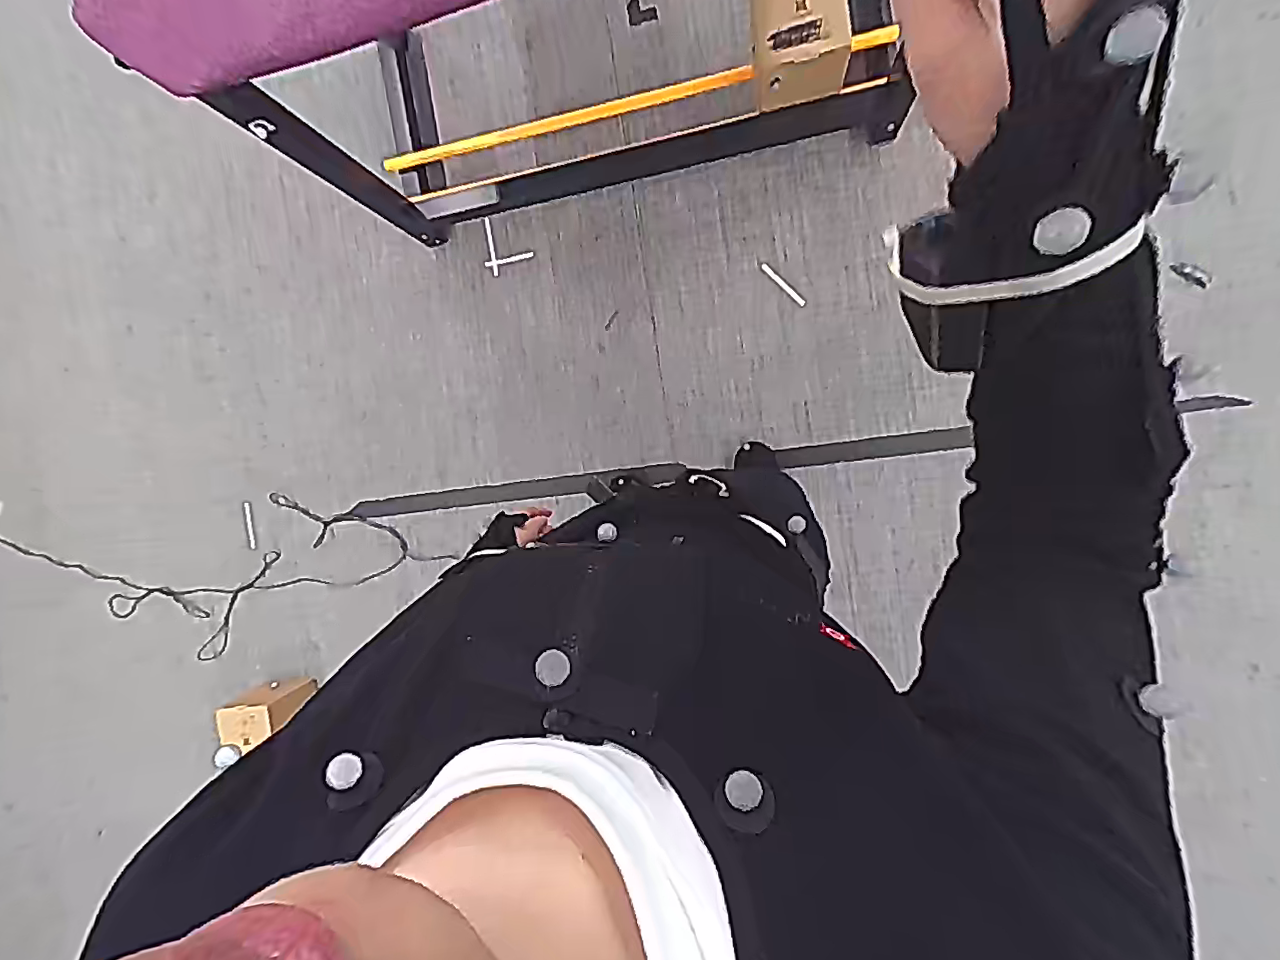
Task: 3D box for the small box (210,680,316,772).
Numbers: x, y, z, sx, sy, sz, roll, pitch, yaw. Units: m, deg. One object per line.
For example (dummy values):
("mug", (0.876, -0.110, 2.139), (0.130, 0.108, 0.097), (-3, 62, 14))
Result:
("small box", (-1.040, 0.682, 1.507), (0.168, 0.176, 0.179), (-8, 93, 9))
